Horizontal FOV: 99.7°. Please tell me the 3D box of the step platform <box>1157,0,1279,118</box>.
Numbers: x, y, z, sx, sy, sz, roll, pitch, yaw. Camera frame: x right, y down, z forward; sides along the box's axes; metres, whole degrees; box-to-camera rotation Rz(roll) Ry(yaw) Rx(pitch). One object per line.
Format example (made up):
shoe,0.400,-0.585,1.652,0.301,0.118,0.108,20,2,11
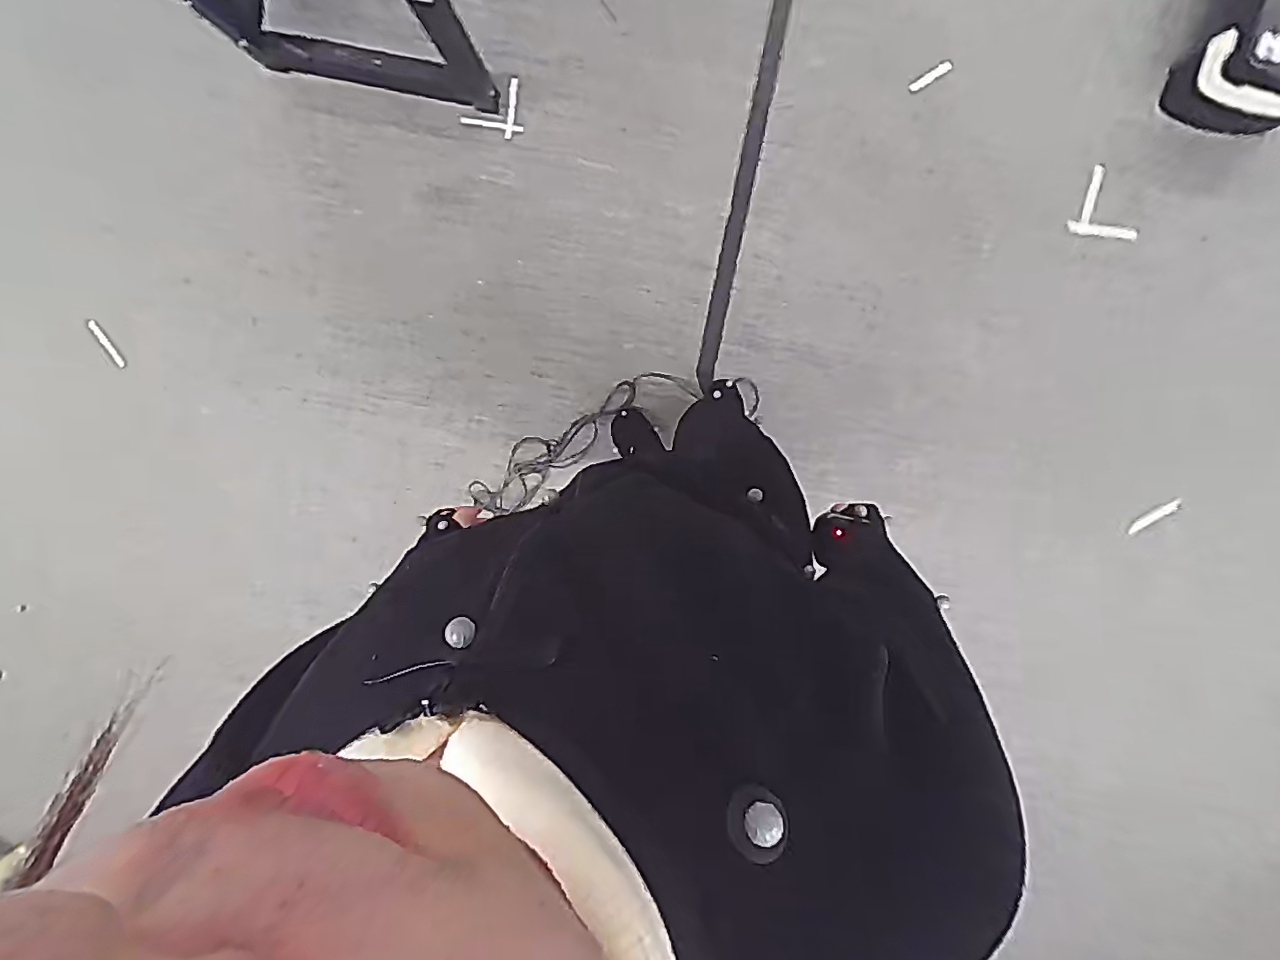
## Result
step platform,1.447,-1.195,1.146,0.286,0.204,0.684,16,100,-2
